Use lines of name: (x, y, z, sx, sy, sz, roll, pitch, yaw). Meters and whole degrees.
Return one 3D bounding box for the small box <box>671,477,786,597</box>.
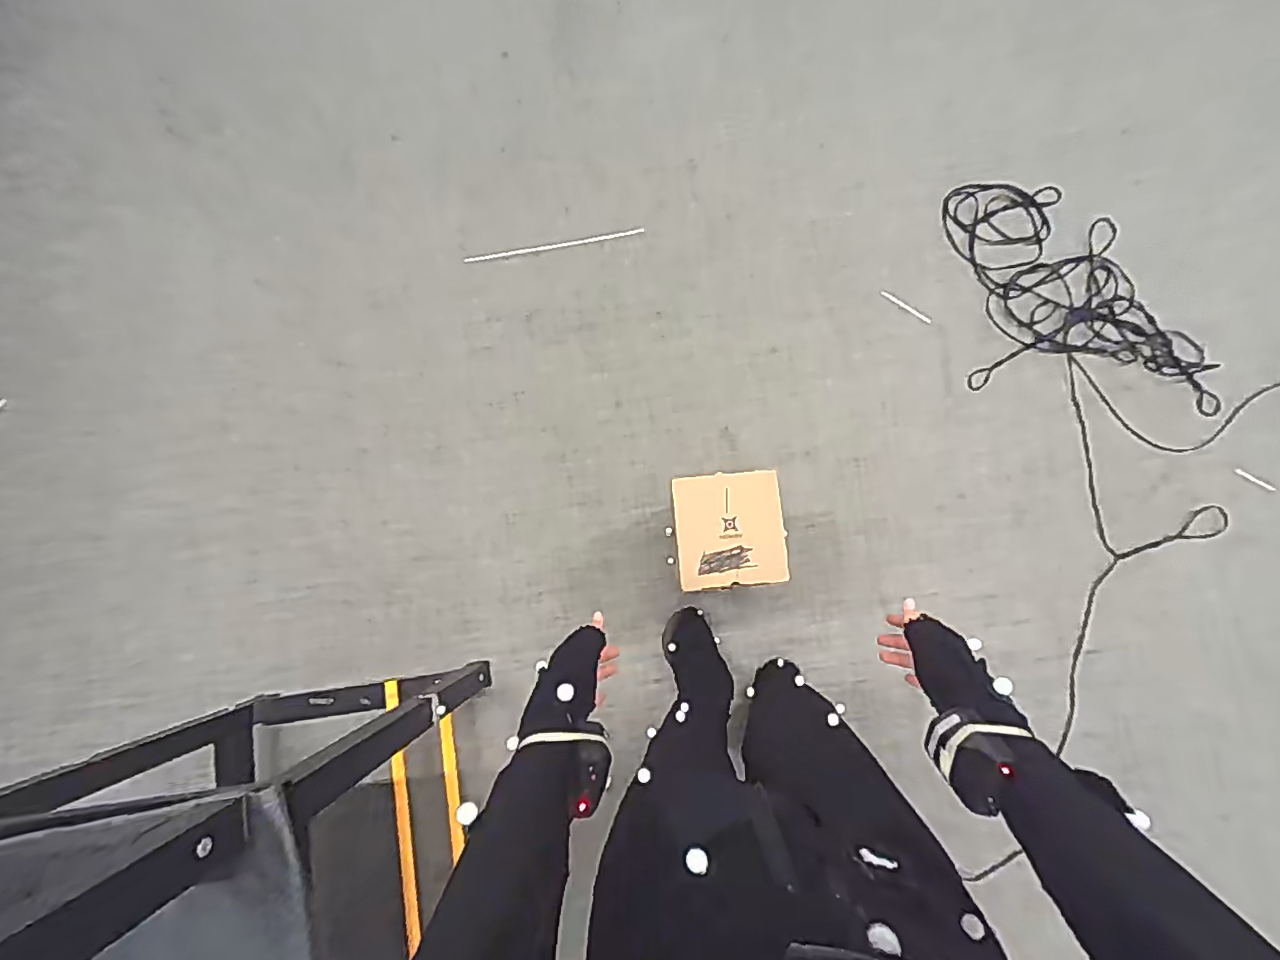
small box: (0.140, 0.096, 0.910, 0.168, 0.176, 0.179, -5, 82, 2)
